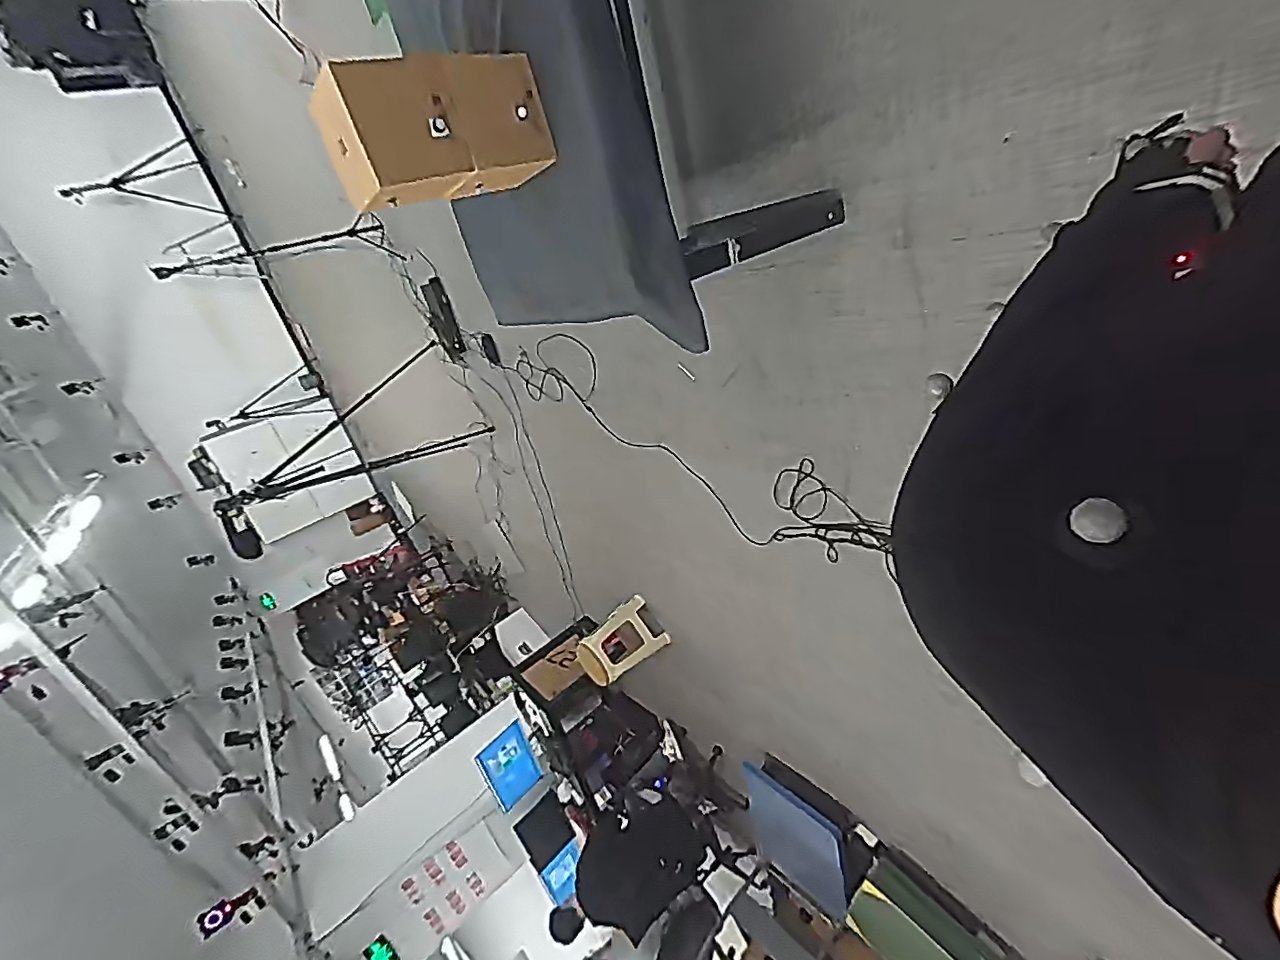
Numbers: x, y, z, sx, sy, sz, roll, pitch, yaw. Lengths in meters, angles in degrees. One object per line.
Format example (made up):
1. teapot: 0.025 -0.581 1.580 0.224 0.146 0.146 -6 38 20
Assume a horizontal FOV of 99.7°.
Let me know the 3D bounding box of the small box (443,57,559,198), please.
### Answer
1. small box: -0.273 -0.626 0.971 0.179 0.176 0.168 11 125 51

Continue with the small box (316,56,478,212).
1. small box: -0.394 -0.560 0.886 0.179 0.176 0.168 11 126 50
